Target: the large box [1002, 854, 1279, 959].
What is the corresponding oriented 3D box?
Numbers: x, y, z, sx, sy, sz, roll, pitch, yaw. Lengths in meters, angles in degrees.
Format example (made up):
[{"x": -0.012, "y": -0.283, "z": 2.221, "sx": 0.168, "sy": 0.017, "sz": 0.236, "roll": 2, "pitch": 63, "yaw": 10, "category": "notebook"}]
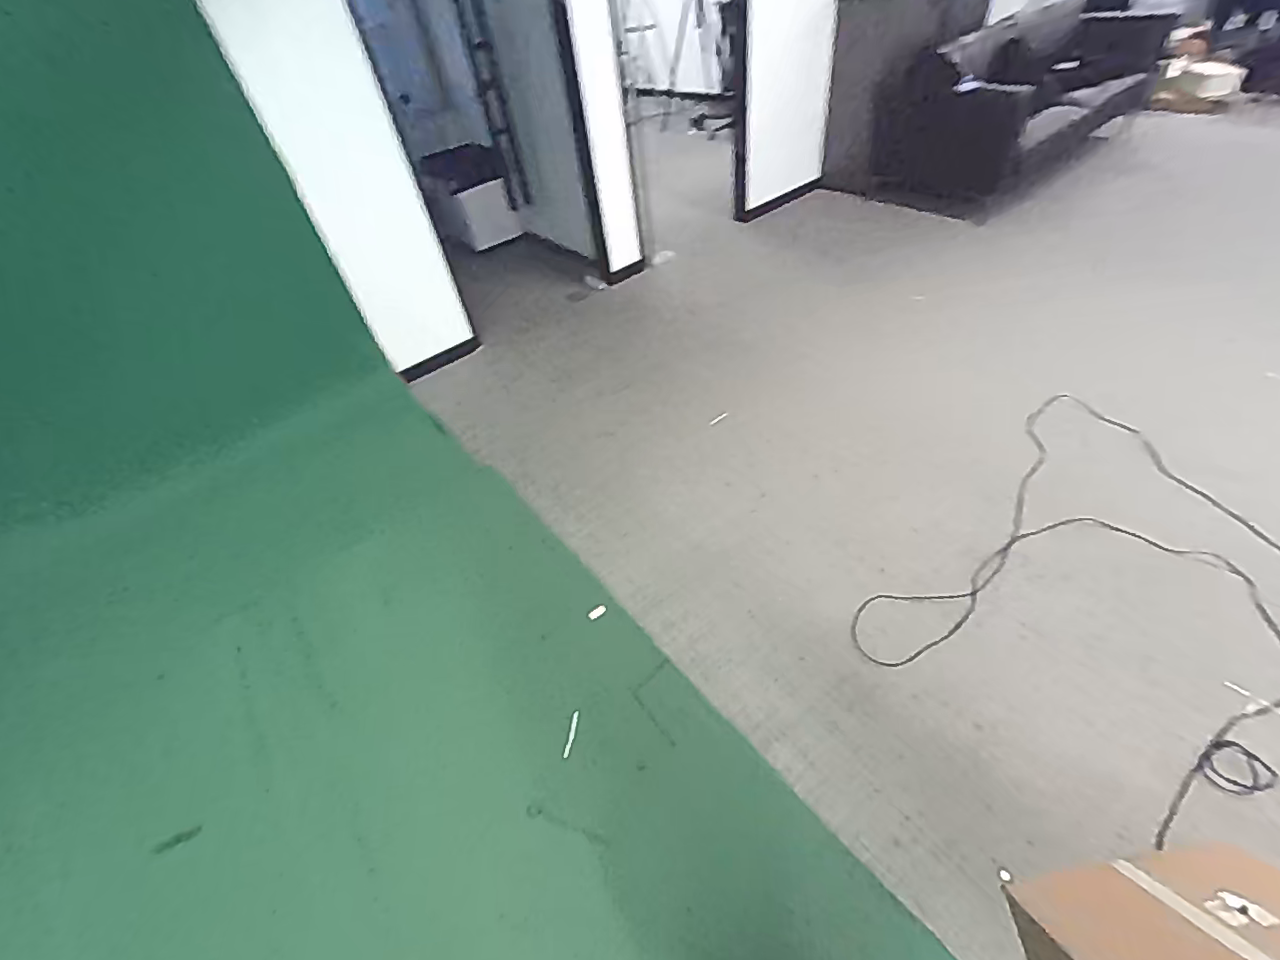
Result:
[{"x": 0.676, "y": 0.666, "z": 0.541, "sx": 0.320, "sy": 0.408, "sz": 0.320, "roll": -13, "pitch": 79, "yaw": 4, "category": "large box"}]
